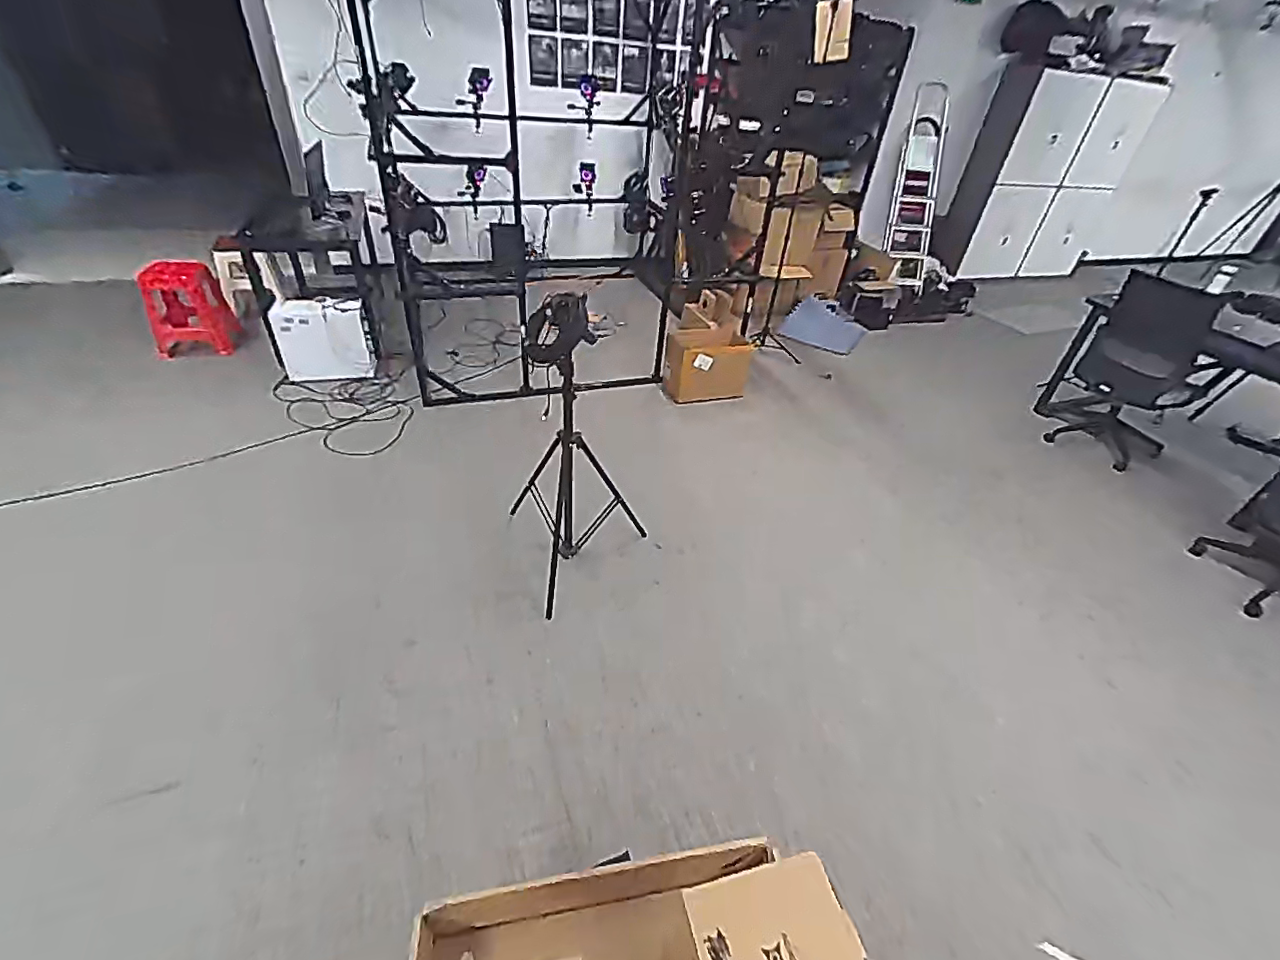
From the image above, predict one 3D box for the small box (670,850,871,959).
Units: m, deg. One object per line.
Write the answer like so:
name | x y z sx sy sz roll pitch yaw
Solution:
small box | 0.145 0.557 0.608 0.179 0.176 0.168 -5 37 -14
